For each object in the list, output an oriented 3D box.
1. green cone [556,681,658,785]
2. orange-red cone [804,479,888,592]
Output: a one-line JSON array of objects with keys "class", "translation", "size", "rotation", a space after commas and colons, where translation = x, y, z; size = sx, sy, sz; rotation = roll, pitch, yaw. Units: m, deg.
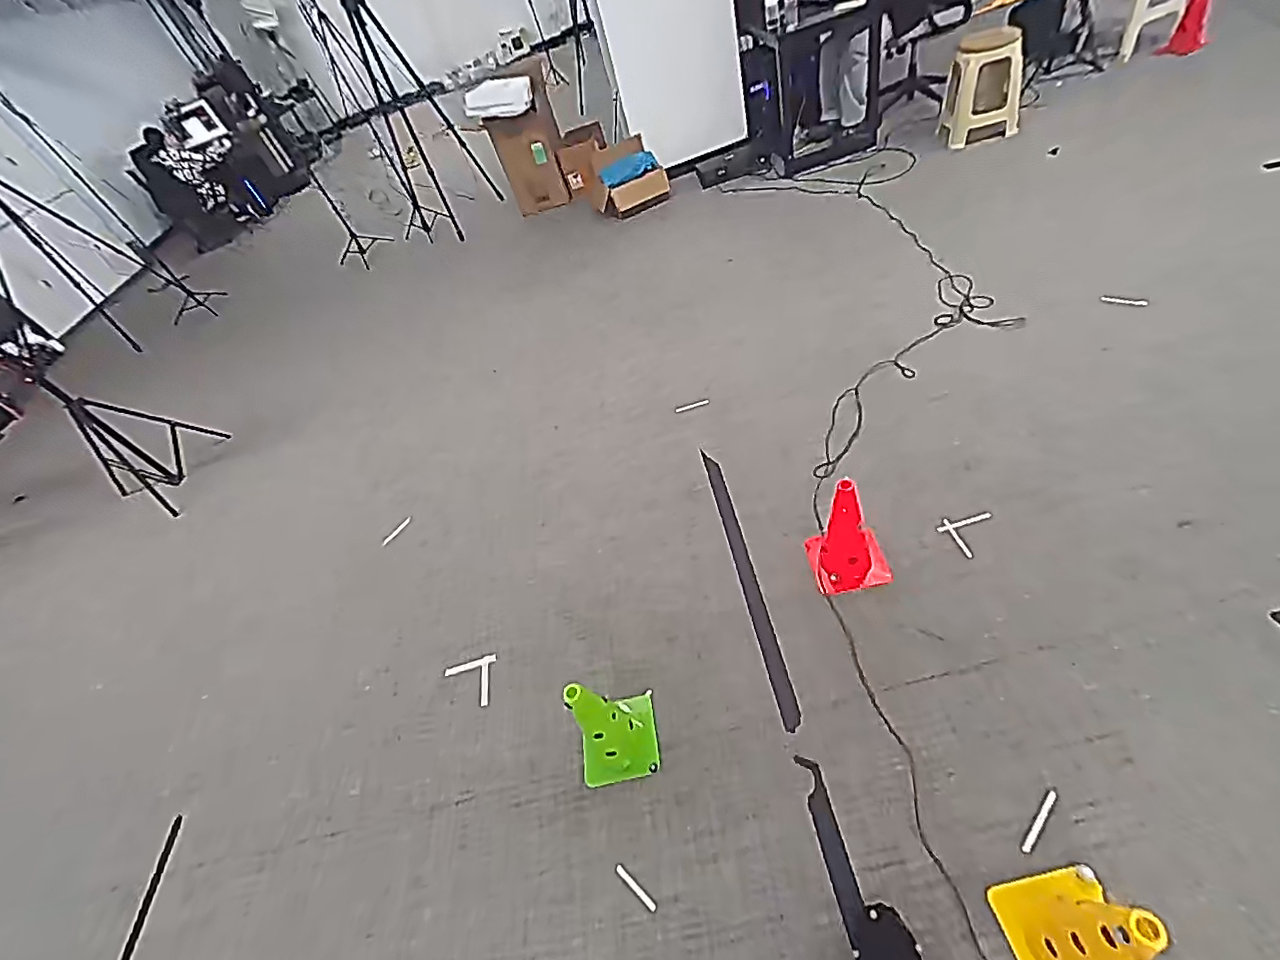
[{"class": "green cone", "translation": [-0.108, 0.567, 1.304], "size": [0.202, 0.368, 0.200], "rotation": [-17, 45, 7]}, {"class": "orange-red cone", "translation": [0.555, 0.121, 1.462], "size": [0.199, 0.360, 0.198], "rotation": [-12, 48, 9]}]
